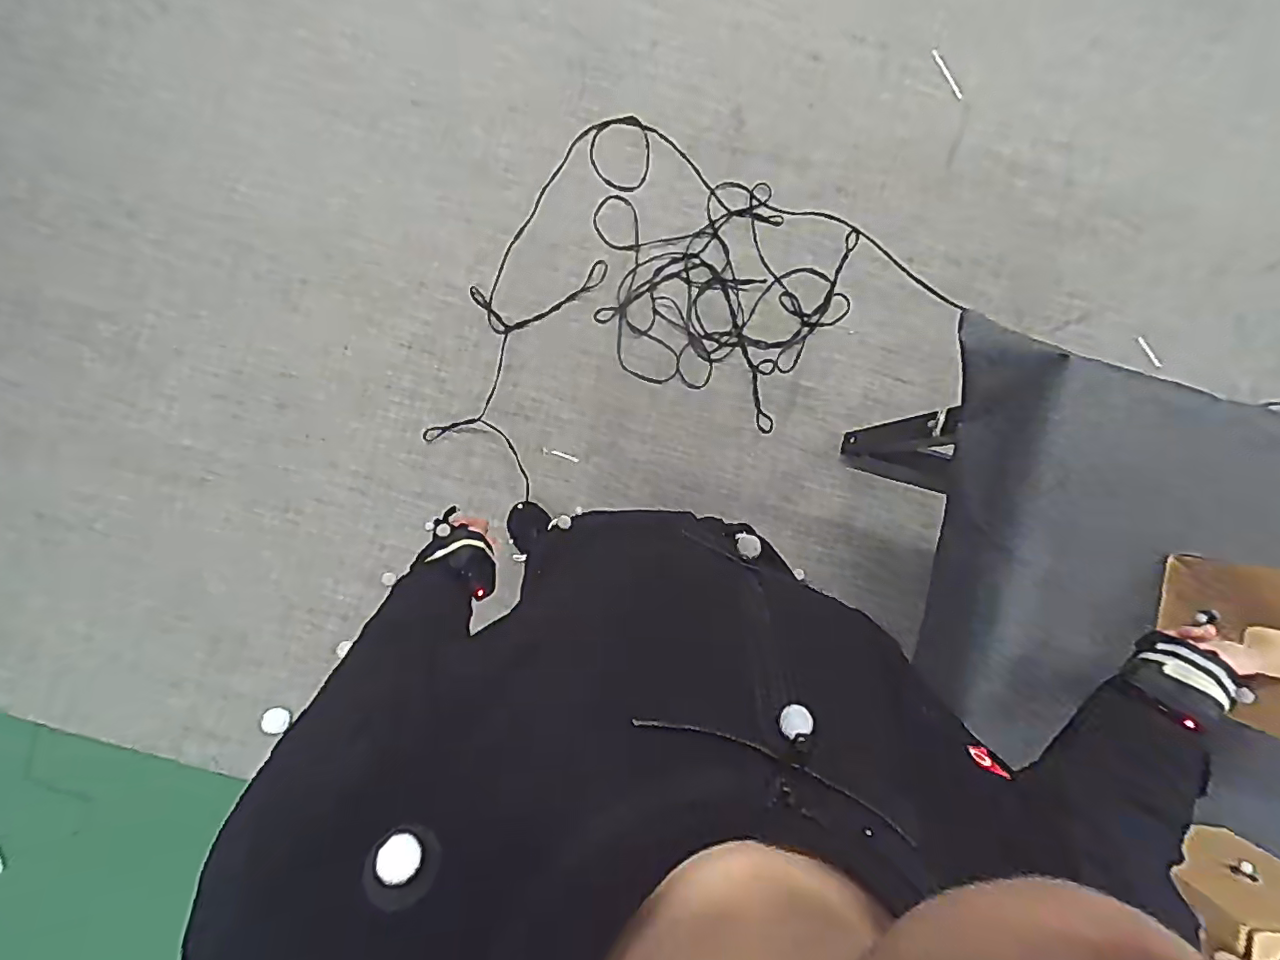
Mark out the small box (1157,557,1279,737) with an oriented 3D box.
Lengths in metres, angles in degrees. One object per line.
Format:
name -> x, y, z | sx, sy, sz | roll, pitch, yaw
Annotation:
small box -> 0.717, 0.182, 0.568 | 0.179, 0.176, 0.168 | 8, 90, -1
